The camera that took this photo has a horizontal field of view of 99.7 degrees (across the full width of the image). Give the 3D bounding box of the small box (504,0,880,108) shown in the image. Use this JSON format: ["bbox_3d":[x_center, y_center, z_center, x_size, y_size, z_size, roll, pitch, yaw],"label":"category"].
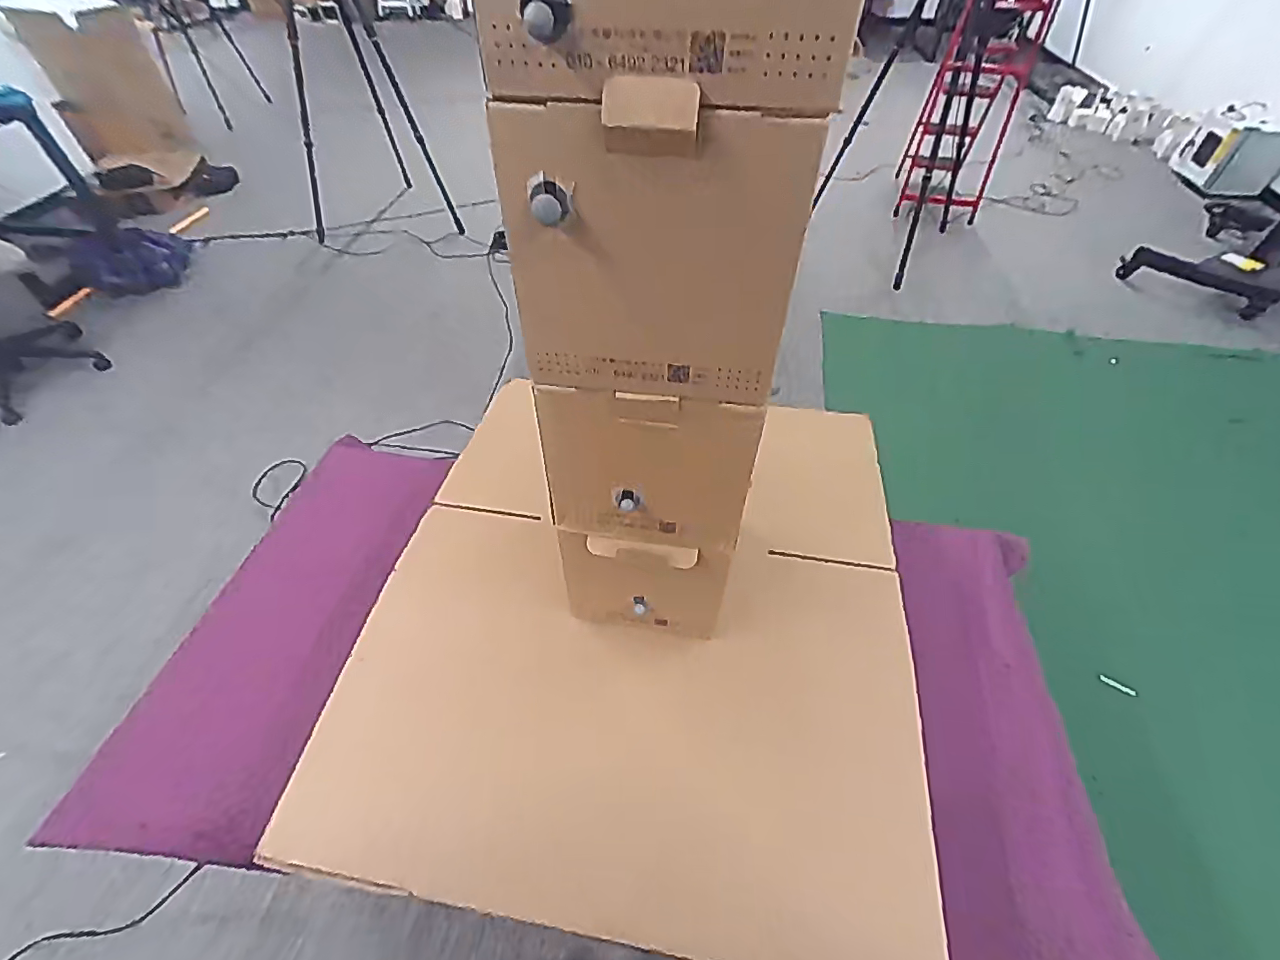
[{"bbox_3d":[0.027,-0.291,0.246,0.168,0.176,0.179,4,49,2],"label":"small box"}]

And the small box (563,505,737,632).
[{"bbox_3d":[0.020,0.043,0.608,0.168,0.176,0.179,8,48,7],"label":"small box"}]

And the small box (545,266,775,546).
[{"bbox_3d":[0.022,-0.067,0.488,0.168,0.176,0.179,7,48,5],"label":"small box"}]
